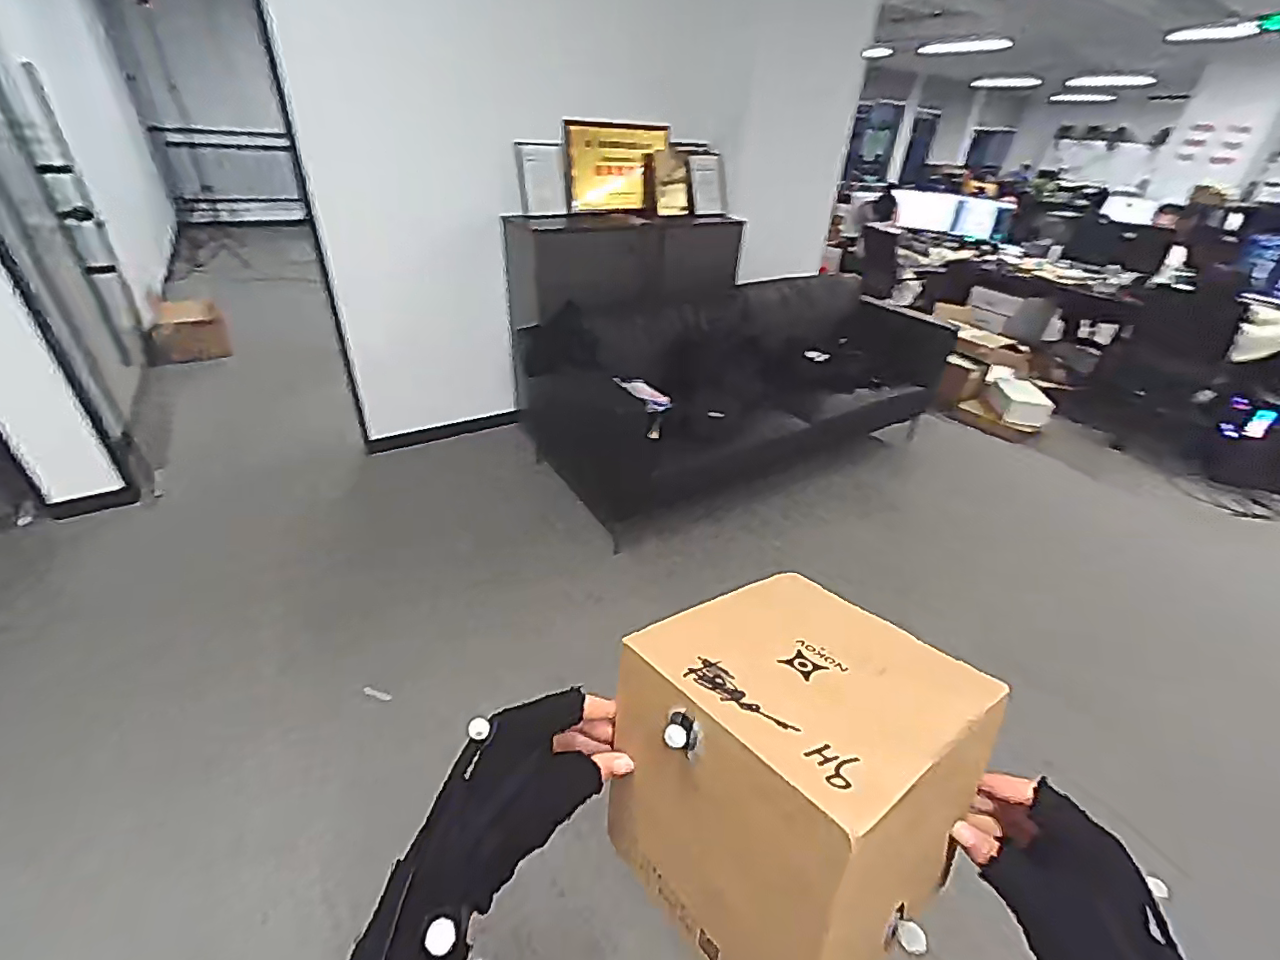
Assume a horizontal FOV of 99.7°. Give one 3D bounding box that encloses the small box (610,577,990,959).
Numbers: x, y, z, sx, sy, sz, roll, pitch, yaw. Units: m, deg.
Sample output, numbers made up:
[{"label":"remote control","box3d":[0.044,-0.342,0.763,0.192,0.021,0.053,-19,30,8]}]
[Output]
[{"label":"small box","box3d":[0.095,0.191,0.365,0.179,0.176,0.168,-8,21,-38]}]
